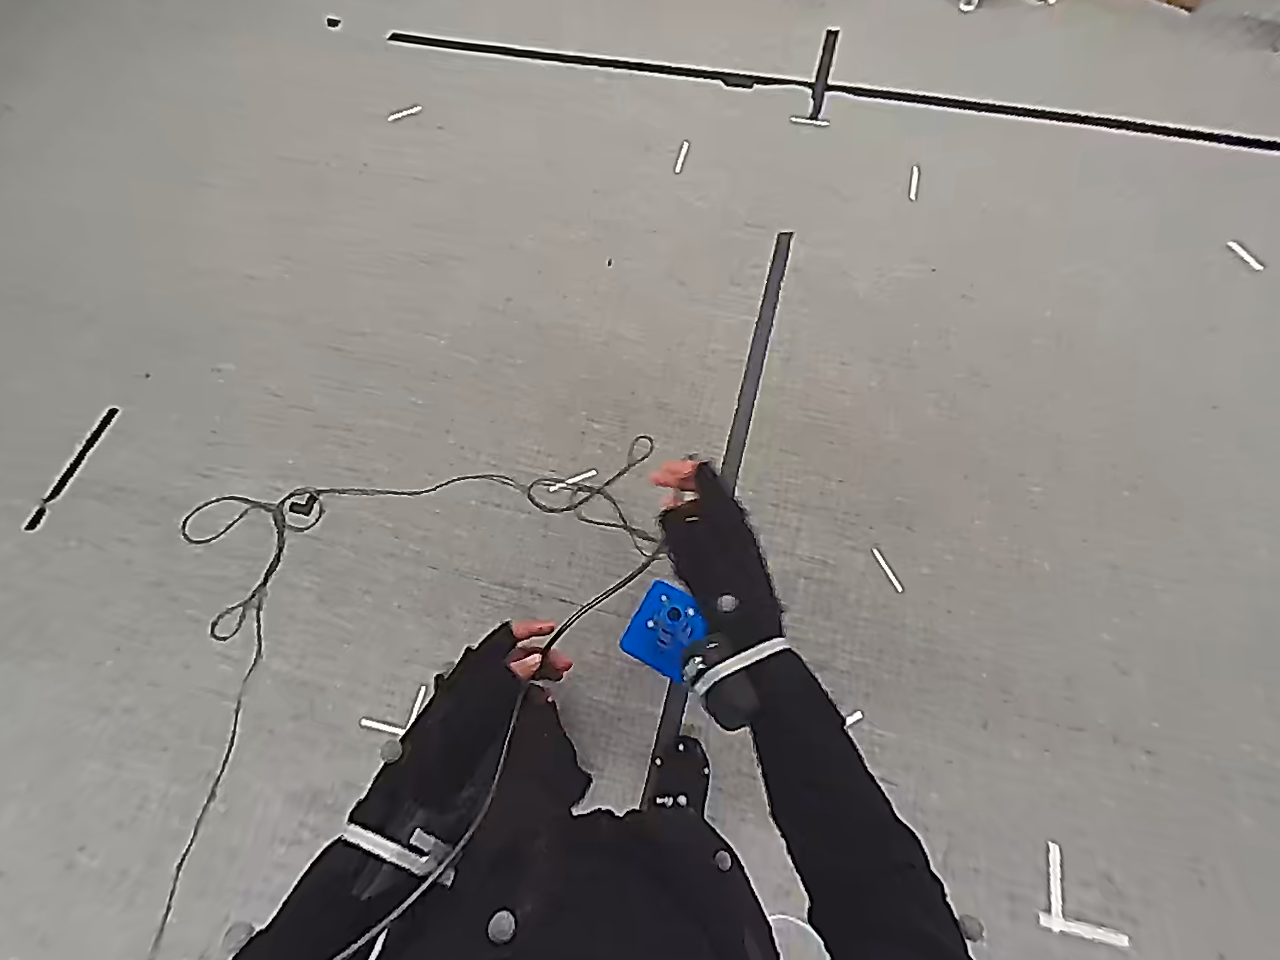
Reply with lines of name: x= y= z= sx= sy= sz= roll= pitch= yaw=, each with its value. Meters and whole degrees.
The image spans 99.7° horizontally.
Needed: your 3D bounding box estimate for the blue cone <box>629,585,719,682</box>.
blue cone: x=0.078 y=0.320 z=1.193 sx=0.192 sy=0.380 sz=0.193 roll=30 pitch=73 yaw=12
